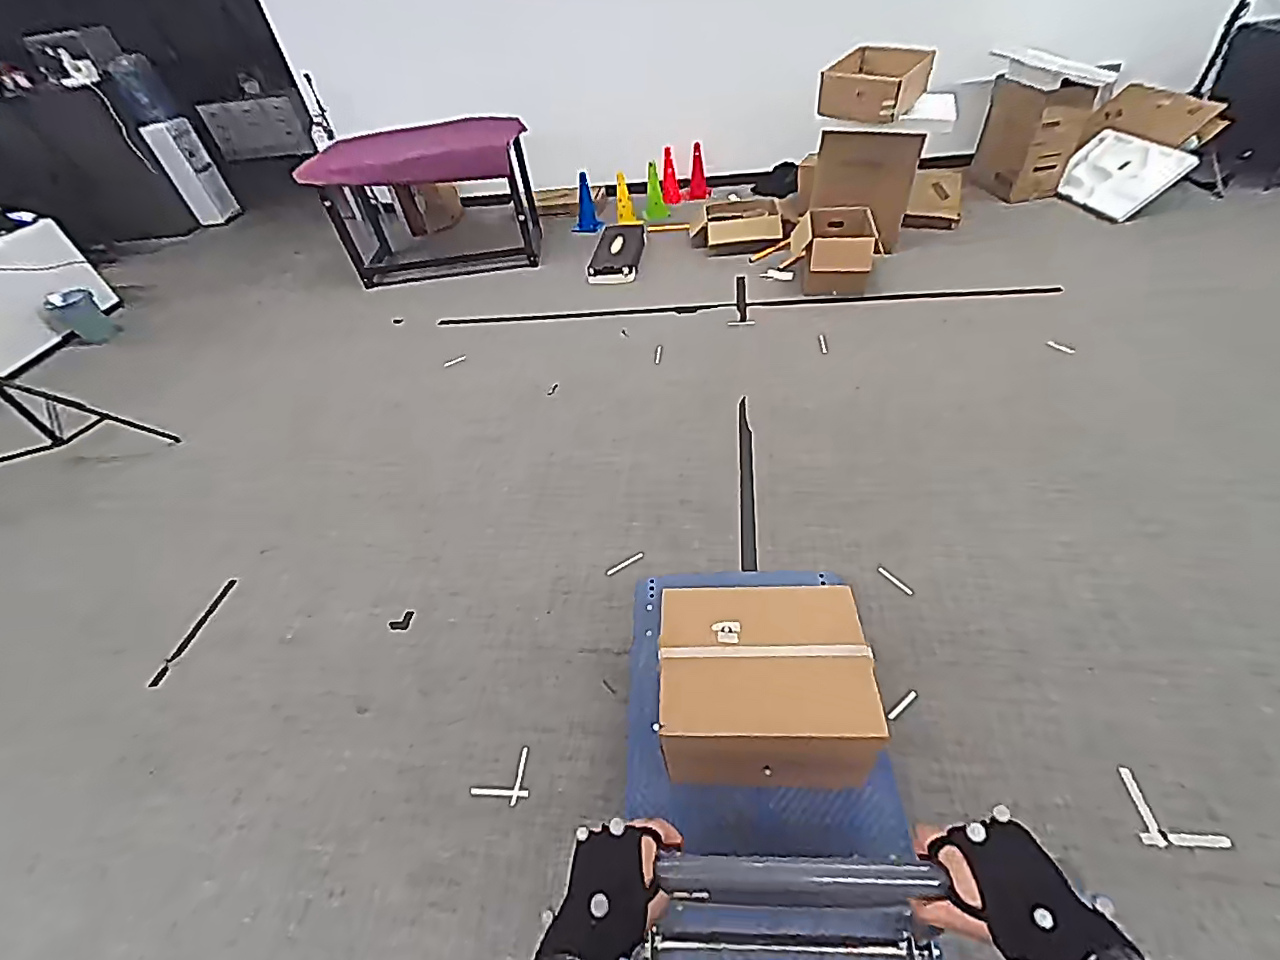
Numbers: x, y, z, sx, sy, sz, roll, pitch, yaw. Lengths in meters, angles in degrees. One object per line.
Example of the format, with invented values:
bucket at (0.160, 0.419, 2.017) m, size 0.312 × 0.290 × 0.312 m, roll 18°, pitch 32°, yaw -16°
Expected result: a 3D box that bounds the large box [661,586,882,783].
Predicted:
large box at (0.262, 0.458, 1.194) m, size 0.408 × 0.320 × 0.320 m, roll -4°, pitch 44°, yaw 7°
